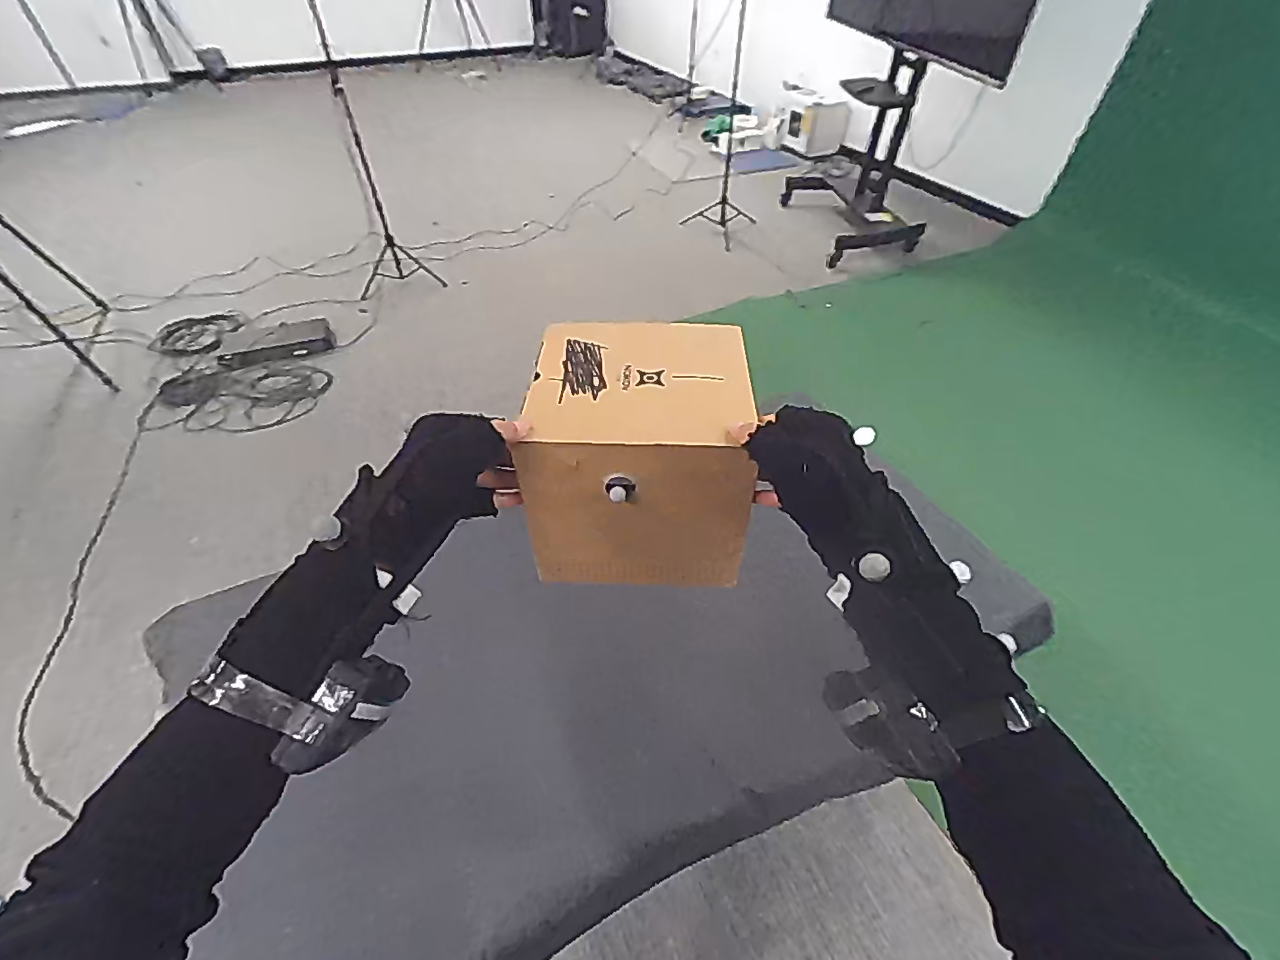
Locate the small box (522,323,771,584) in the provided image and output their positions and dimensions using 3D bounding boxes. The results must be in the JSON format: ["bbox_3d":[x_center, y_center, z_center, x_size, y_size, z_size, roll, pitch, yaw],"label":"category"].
[{"bbox_3d":[0.008,-0.022,0.481,0.179,0.176,0.168,2,45,2],"label":"small box"}]
